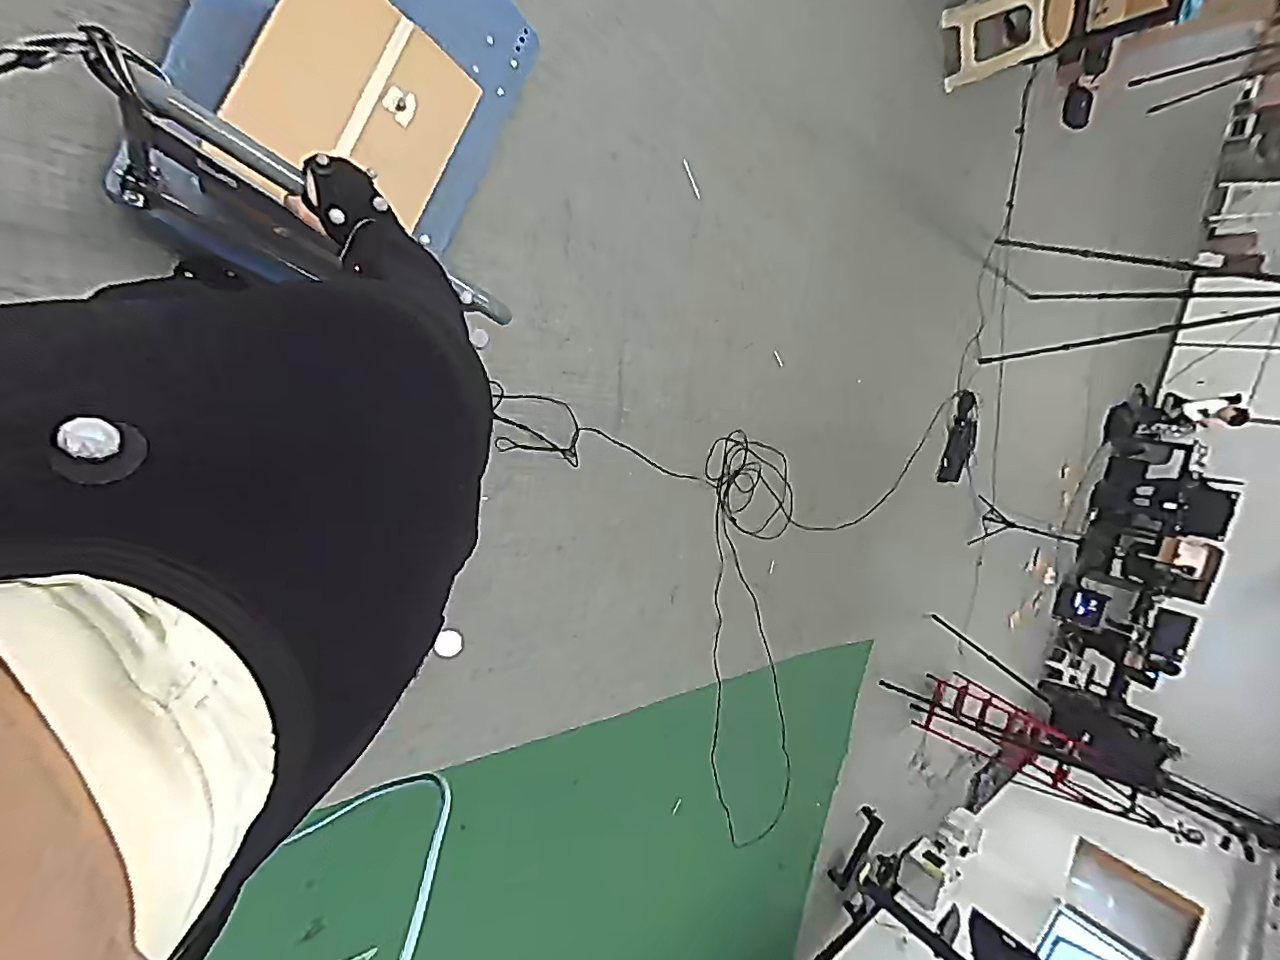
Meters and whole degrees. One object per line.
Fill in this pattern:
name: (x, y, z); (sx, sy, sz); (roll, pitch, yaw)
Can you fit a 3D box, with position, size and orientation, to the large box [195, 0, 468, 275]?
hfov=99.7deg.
large box: (-0.607, -0.673, 1.063); (0.320, 0.320, 0.408); (28, 84, -42)
